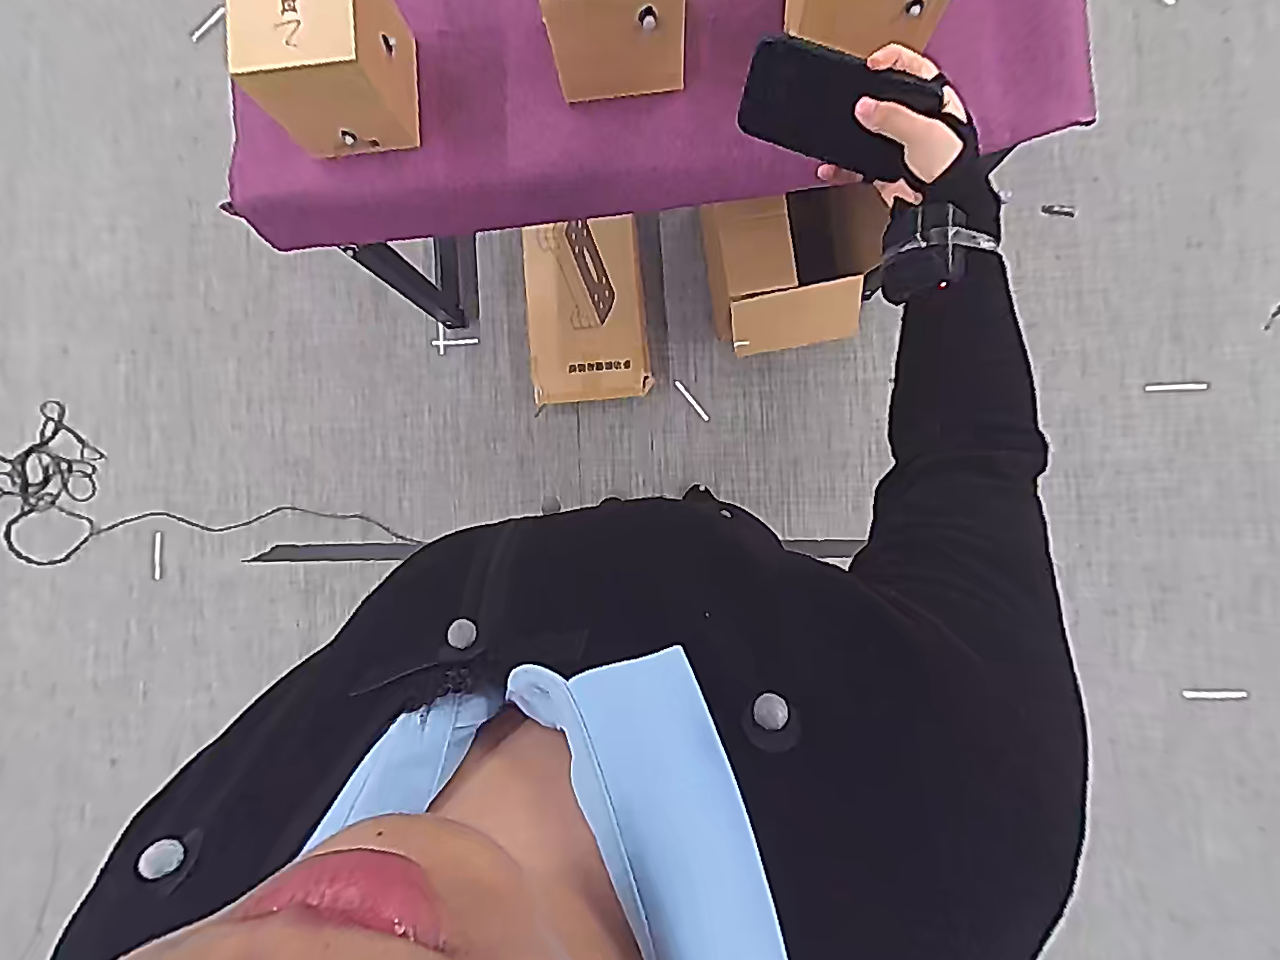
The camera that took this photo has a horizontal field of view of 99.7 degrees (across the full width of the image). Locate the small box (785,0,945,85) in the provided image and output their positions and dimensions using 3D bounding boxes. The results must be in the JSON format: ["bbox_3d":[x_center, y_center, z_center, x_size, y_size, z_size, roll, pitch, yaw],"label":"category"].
[{"bbox_3d":[0.289,-0.645,0.690,0.179,0.176,0.168,3,88,3],"label":"small box"}]

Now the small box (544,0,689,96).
[{"bbox_3d":[-0.029,-0.647,0.709,0.179,0.176,0.168,-4,86,3],"label":"small box"}]
